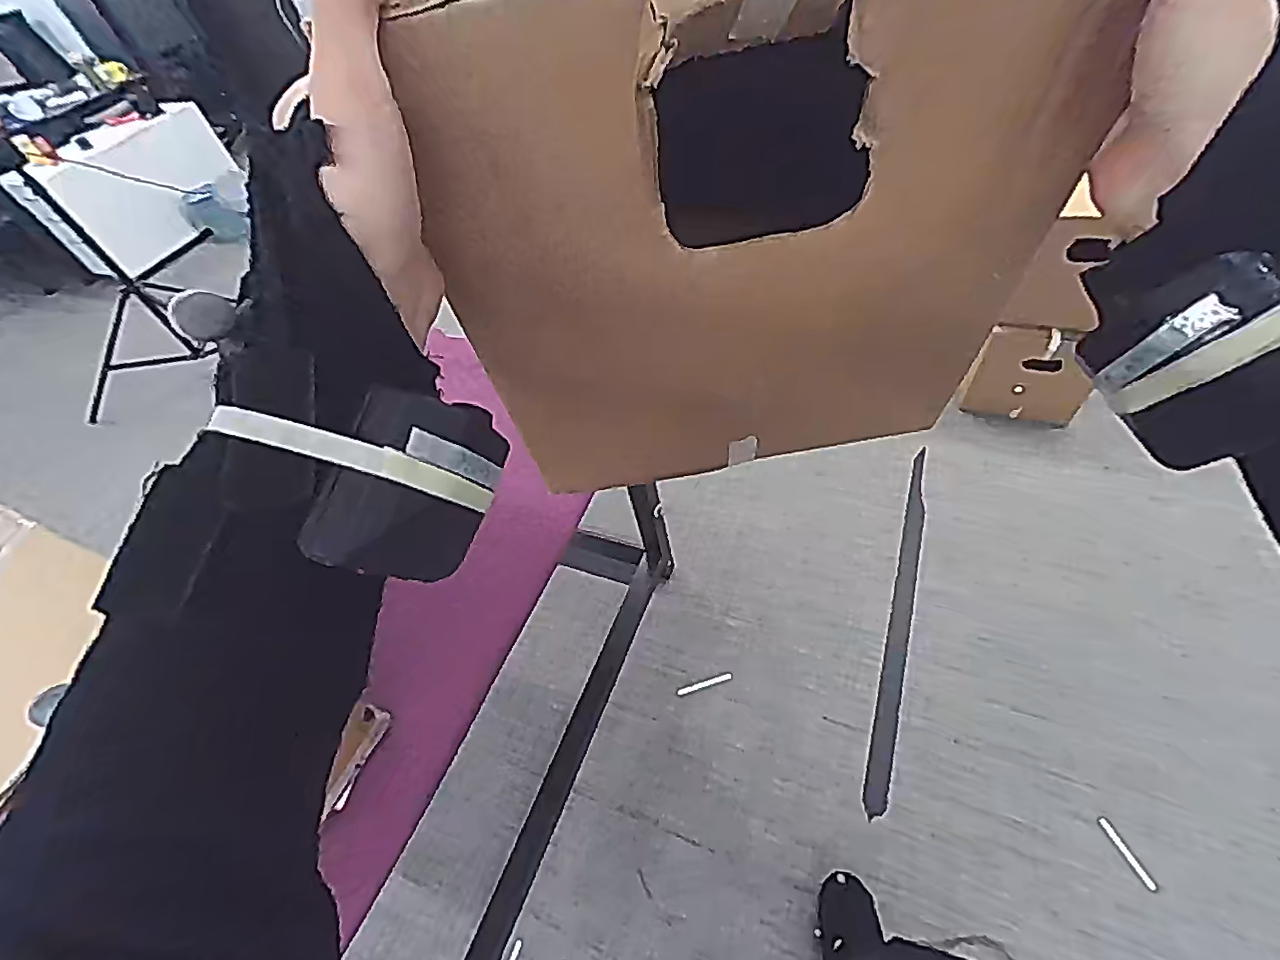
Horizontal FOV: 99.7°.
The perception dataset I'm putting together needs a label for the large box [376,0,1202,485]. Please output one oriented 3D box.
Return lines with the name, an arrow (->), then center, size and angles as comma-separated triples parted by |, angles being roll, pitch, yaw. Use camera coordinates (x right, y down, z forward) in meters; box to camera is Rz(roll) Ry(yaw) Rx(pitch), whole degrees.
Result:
large box -> 0.046, -0.261, 0.404 | 0.320, 0.320, 0.408 | -11, 59, 2
